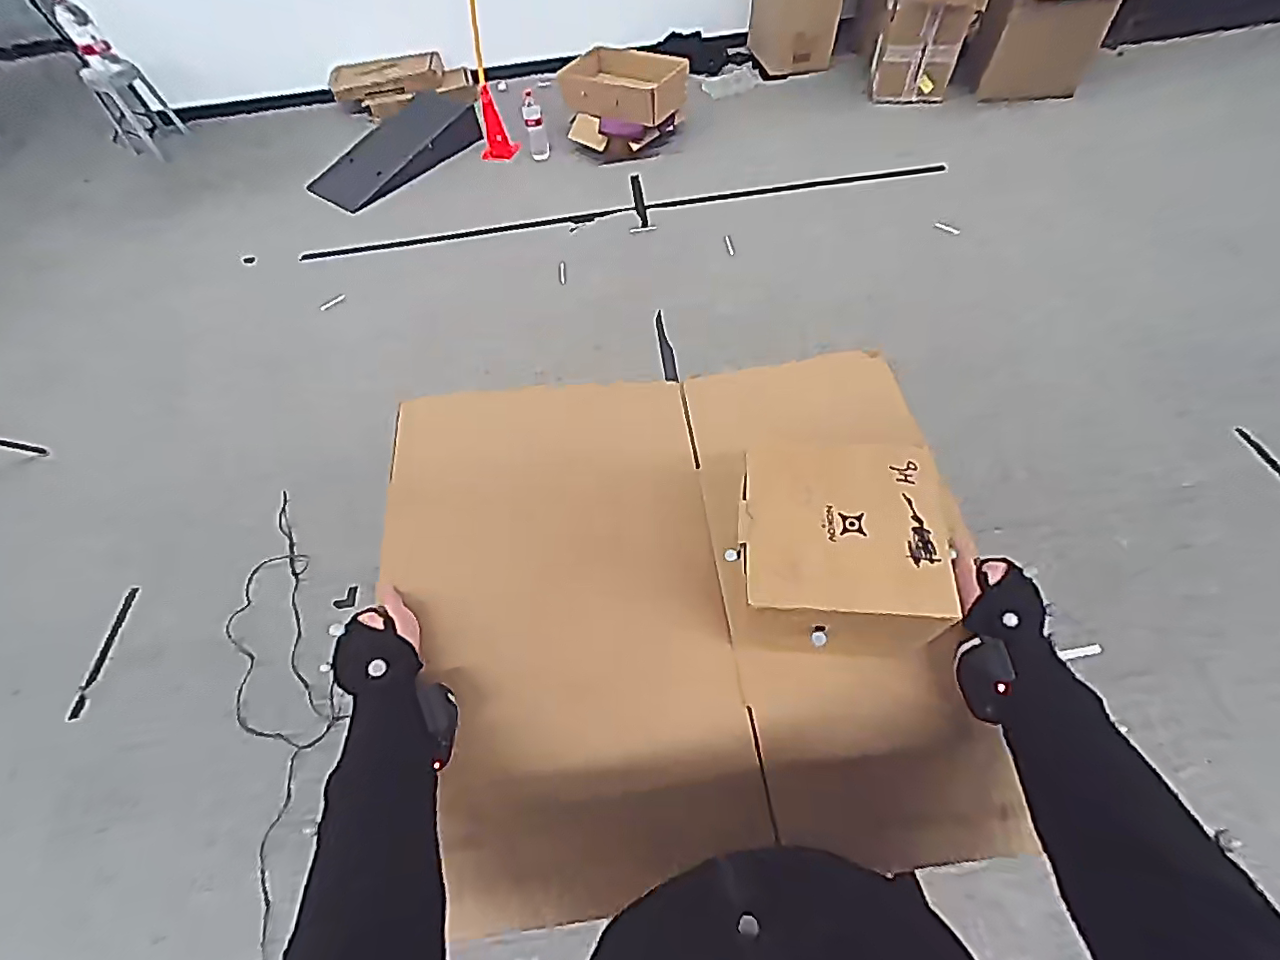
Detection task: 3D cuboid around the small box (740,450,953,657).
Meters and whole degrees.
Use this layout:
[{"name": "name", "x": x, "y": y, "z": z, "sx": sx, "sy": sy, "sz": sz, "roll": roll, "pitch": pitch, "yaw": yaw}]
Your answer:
[{"name": "small box", "x": 0.195, "y": 0.082, "z": 0.569, "sx": 0.179, "sy": 0.176, "sz": 0.168, "roll": 1, "pitch": 60, "yaw": 10}]
